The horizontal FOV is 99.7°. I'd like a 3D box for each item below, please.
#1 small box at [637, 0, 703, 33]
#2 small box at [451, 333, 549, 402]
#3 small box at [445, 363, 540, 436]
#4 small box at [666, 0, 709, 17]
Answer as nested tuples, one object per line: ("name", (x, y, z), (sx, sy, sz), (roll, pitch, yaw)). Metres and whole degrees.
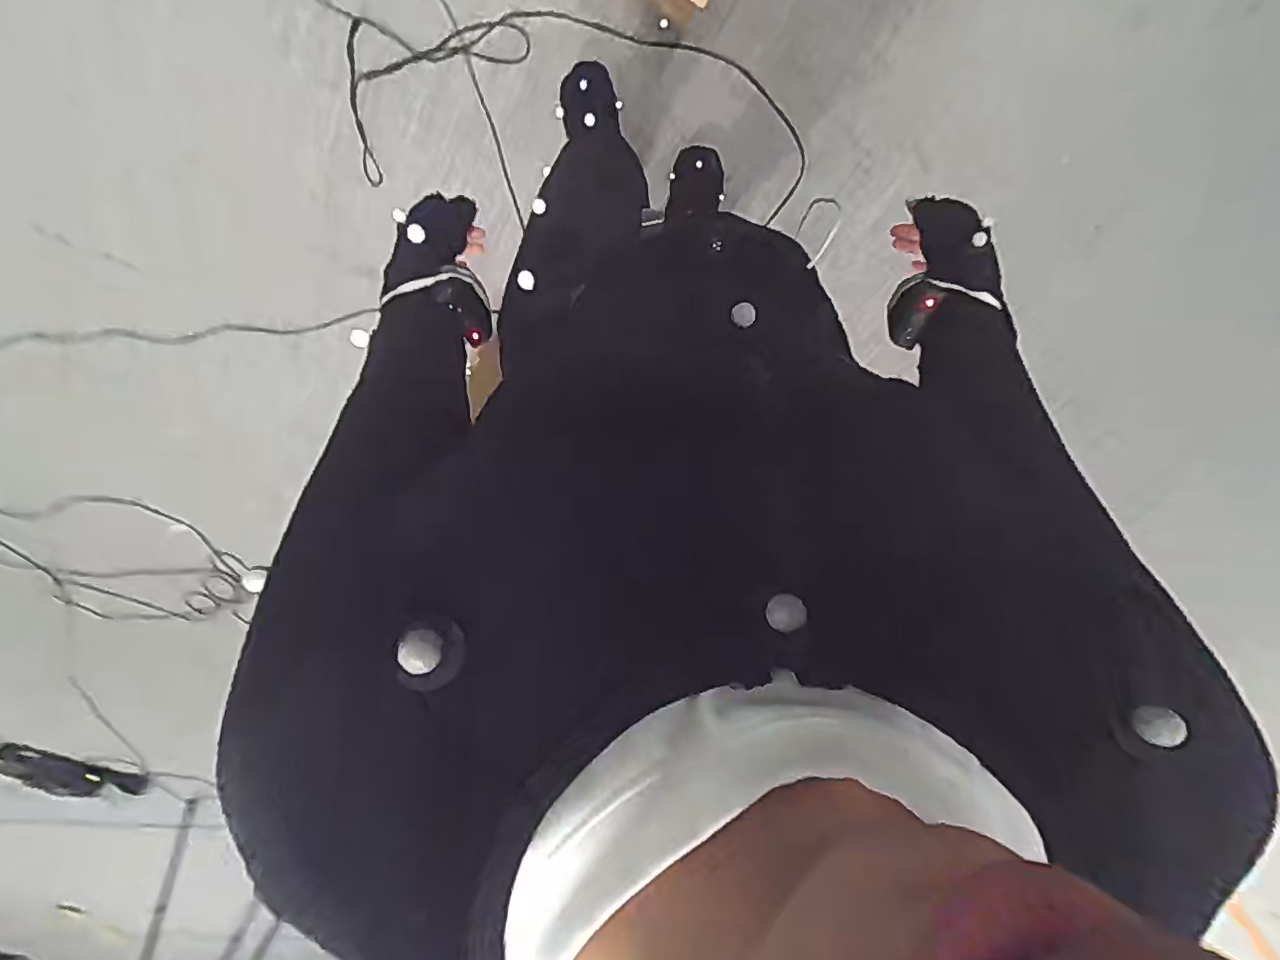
("small box", (0.055, -0.912, 0.927), (0.179, 0.176, 0.168), (26, 122, -19))
("small box", (-0.361, -0.259, 1.416), (0.179, 0.176, 0.168), (28, 125, -18))
("small box", (-0.359, -0.153, 1.286), (0.179, 0.176, 0.168), (30, 121, -22))
("small box", (0.060, -0.822, 0.789), (0.179, 0.176, 0.168), (26, 122, -19))
